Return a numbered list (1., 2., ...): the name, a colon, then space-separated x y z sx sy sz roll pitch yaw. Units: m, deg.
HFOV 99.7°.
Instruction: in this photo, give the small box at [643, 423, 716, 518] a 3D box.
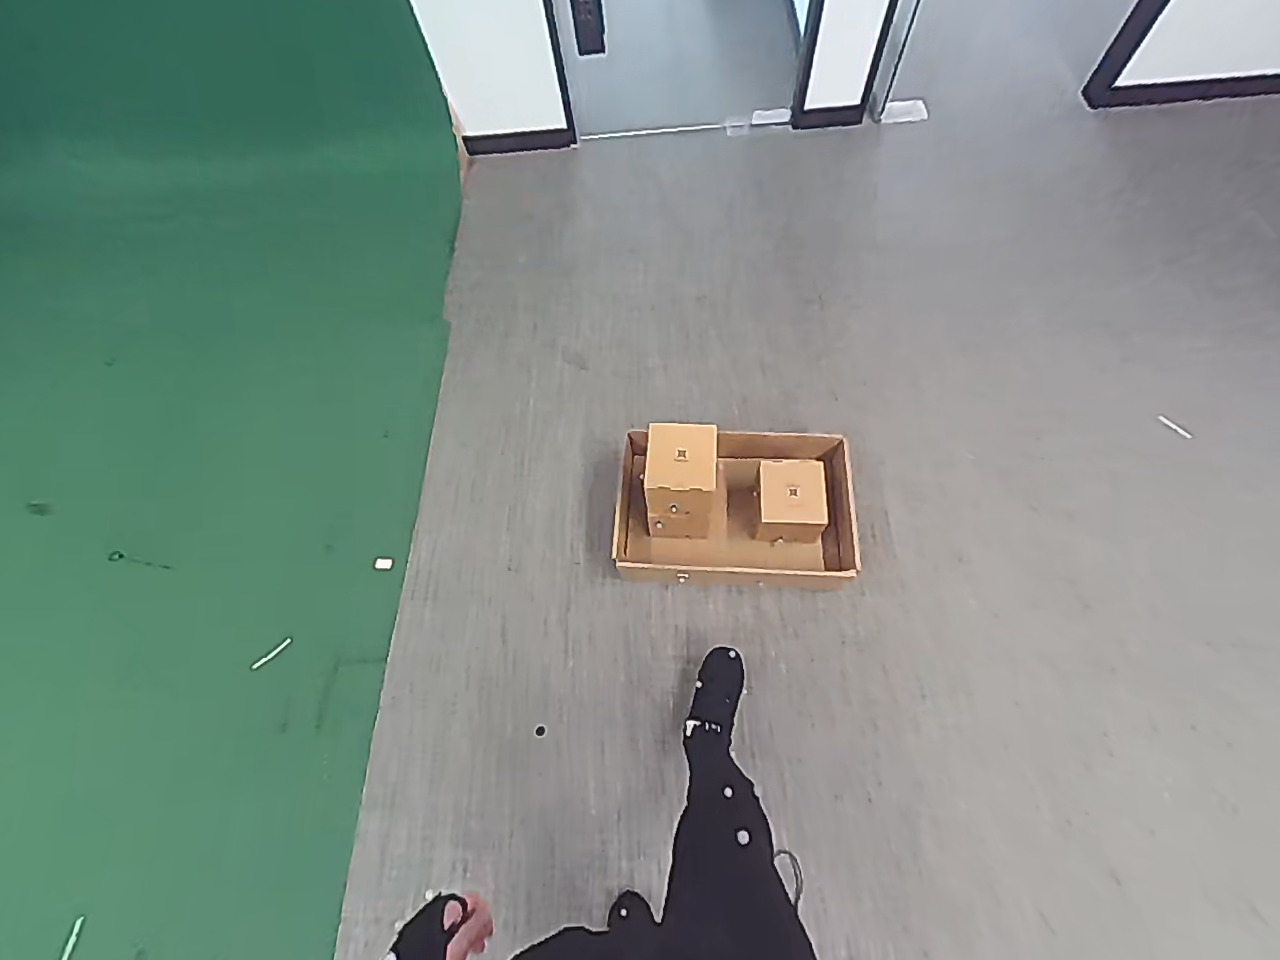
1. small box: 0.097 -0.020 1.337 0.168 0.176 0.179 3 65 5
